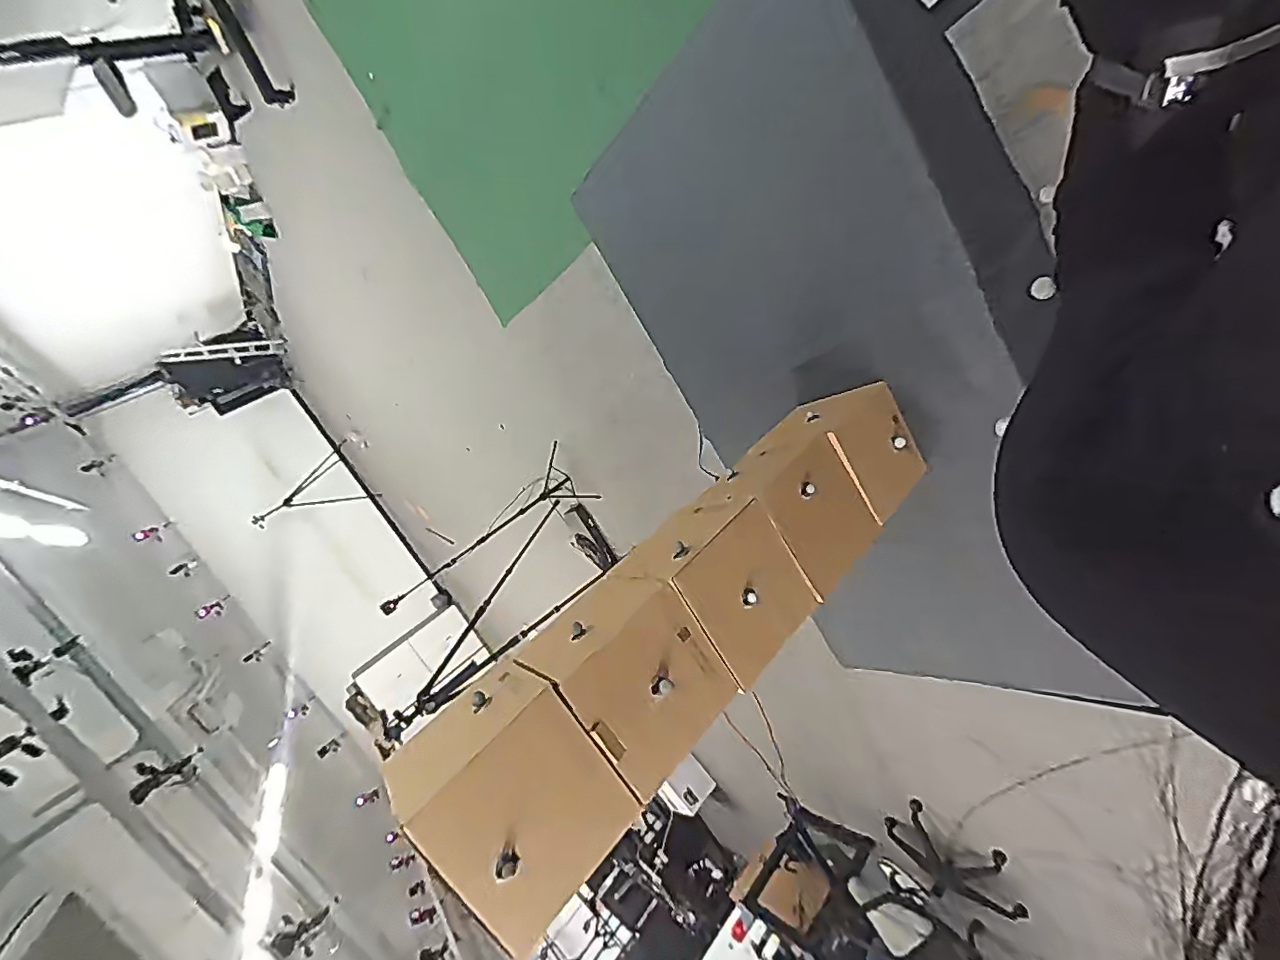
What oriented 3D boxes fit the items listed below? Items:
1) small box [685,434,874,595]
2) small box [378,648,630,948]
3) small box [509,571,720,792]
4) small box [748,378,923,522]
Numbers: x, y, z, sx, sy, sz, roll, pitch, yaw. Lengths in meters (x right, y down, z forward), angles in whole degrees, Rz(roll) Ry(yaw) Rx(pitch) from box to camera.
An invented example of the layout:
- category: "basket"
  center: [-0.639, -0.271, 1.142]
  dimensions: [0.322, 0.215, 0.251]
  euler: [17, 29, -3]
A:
- category: "small box"
  center: [0.206, 0.048, 0.799]
  dimensions: [0.179, 0.176, 0.168]
  euler: [58, 150, -9]
- category: "small box"
  center: [-0.141, 0.309, 0.567]
  dimensions: [0.179, 0.176, 0.168]
  euler: [58, 150, -11]
- category: "small box"
  center: [-0.027, 0.224, 0.653]
  dimensions: [0.168, 0.176, 0.179]
  euler: [58, 149, -10]
- category: "small box"
  center: [0.317, -0.041, 0.878]
  dimensions: [0.179, 0.176, 0.168]
  euler: [-14, 111, 56]
